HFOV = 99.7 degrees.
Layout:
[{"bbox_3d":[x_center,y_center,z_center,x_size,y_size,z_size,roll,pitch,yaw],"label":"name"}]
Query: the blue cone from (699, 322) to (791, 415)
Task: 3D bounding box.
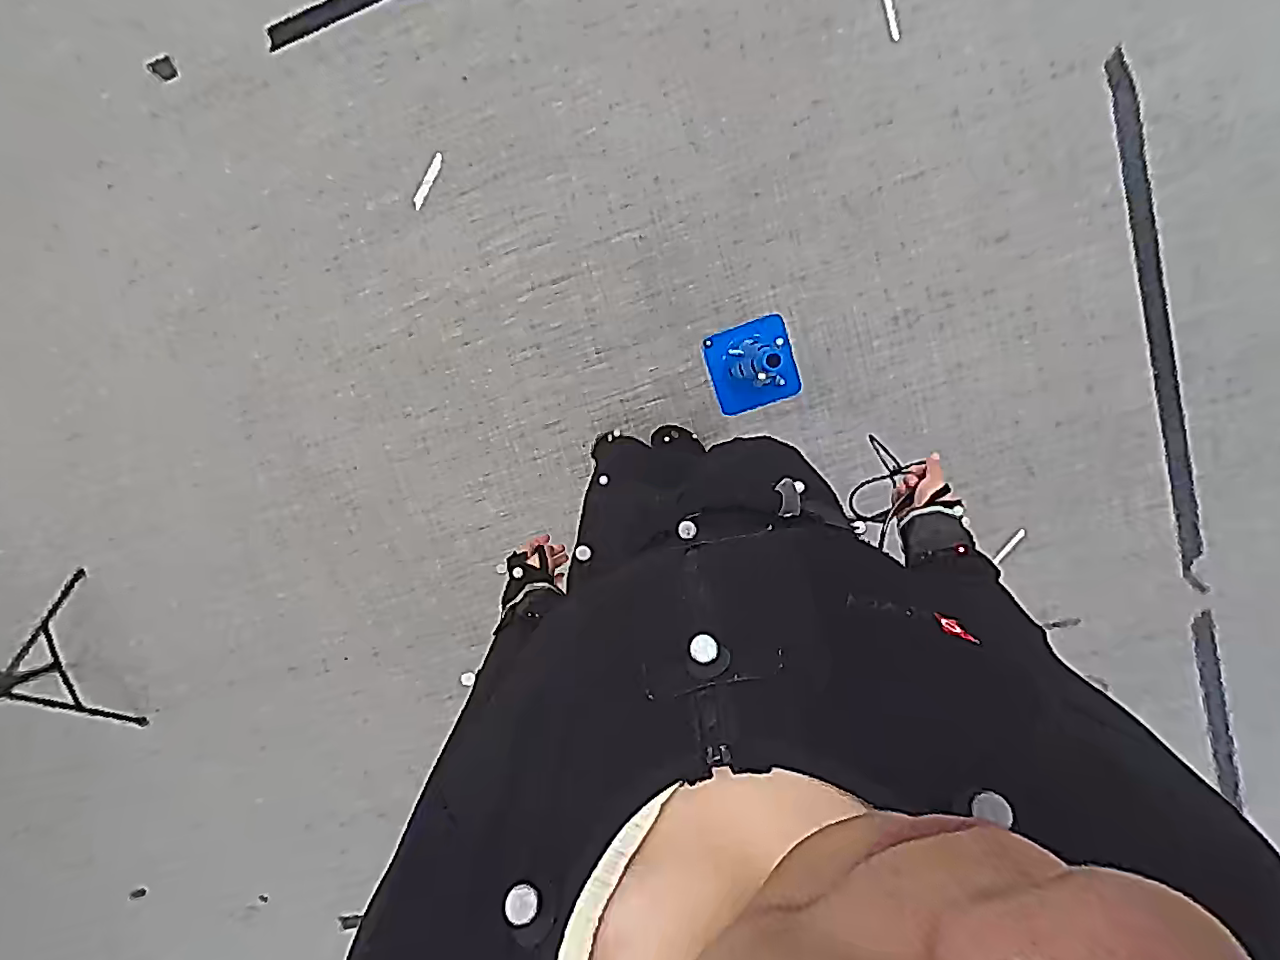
[{"bbox_3d":[0.237,-0.238,1.133,0.192,0.380,0.193,-16,98,9],"label":"blue cone"}]
